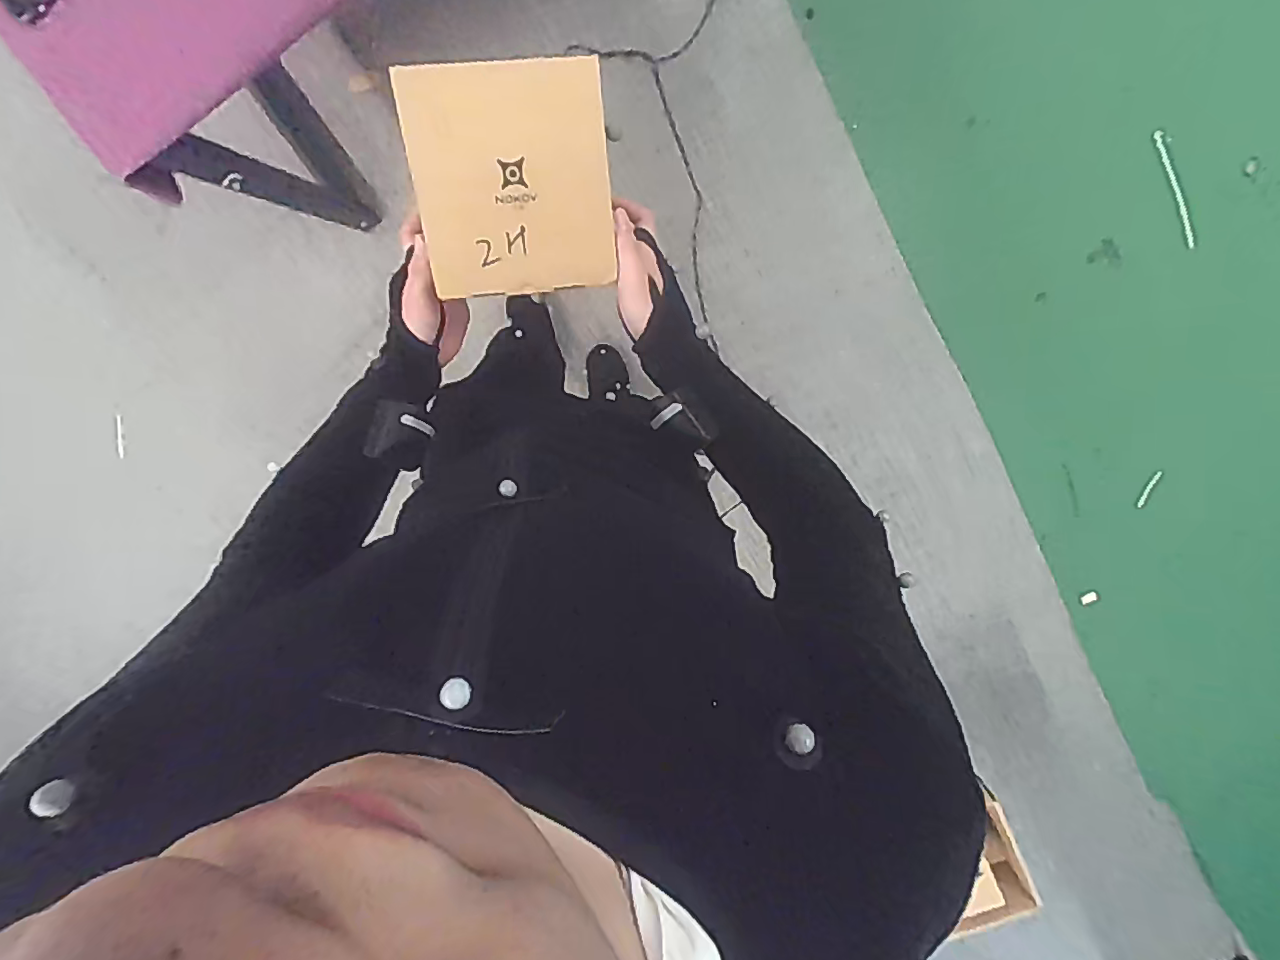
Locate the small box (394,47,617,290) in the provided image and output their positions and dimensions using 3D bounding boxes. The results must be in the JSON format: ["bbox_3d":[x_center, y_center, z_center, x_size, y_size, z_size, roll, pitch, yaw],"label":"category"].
[{"bbox_3d":[-0.114,-0.285,0.528,0.168,0.176,0.179,-5,113,-3],"label":"small box"}]
